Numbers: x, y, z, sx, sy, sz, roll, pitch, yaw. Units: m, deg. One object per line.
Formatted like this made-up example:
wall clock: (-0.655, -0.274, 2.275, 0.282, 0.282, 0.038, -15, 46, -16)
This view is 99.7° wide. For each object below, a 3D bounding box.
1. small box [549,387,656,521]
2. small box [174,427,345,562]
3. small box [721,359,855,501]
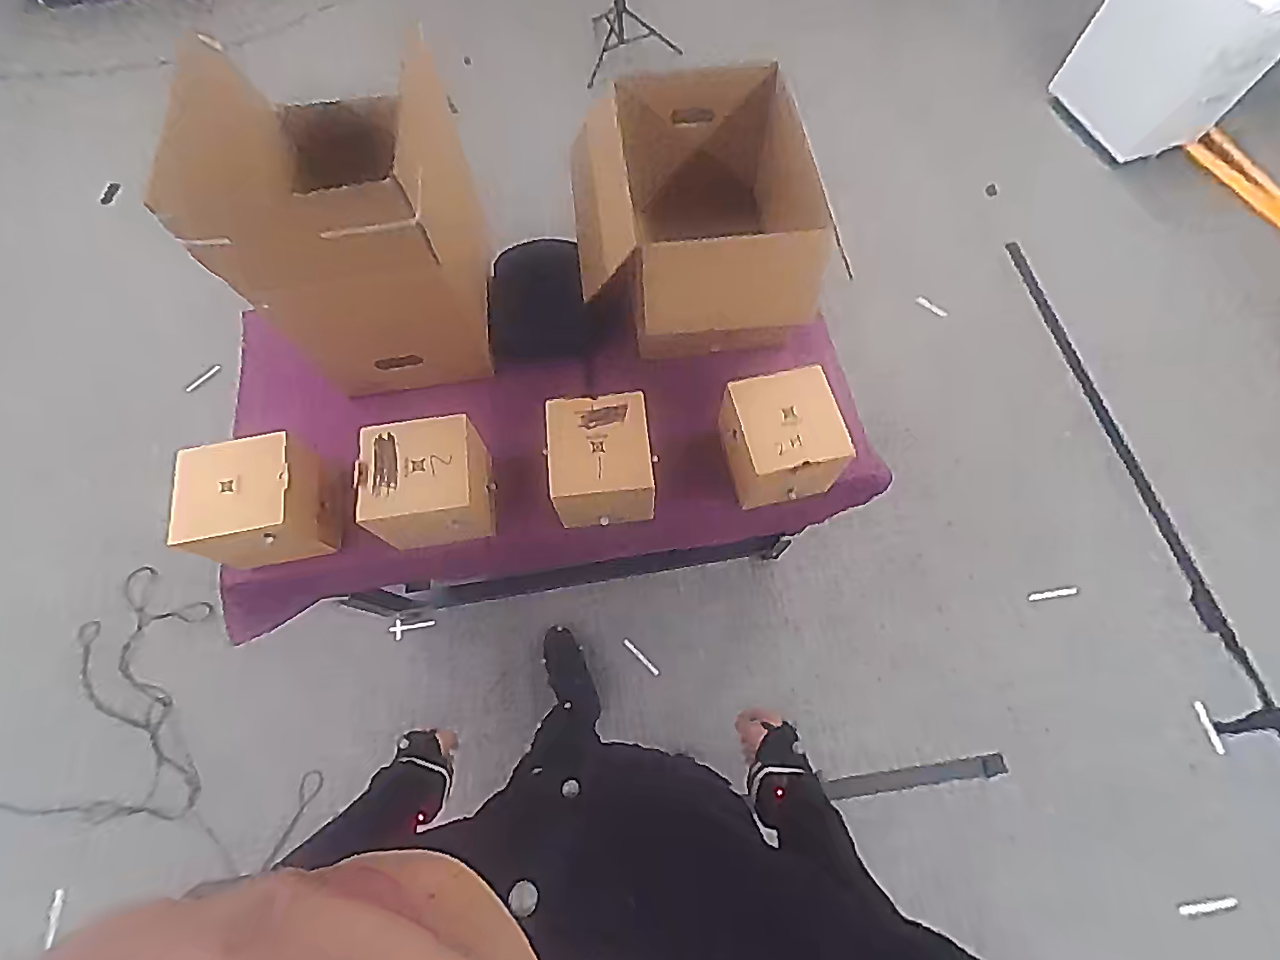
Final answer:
small box: (-0.063, -0.040, 0.946, 0.168, 0.176, 0.179, -6, 69, -1)
small box: (-0.639, 0.033, 0.930, 0.179, 0.176, 0.168, -11, 69, -5)
small box: (0.247, -0.083, 0.954, 0.168, 0.176, 0.179, -12, 69, -2)
